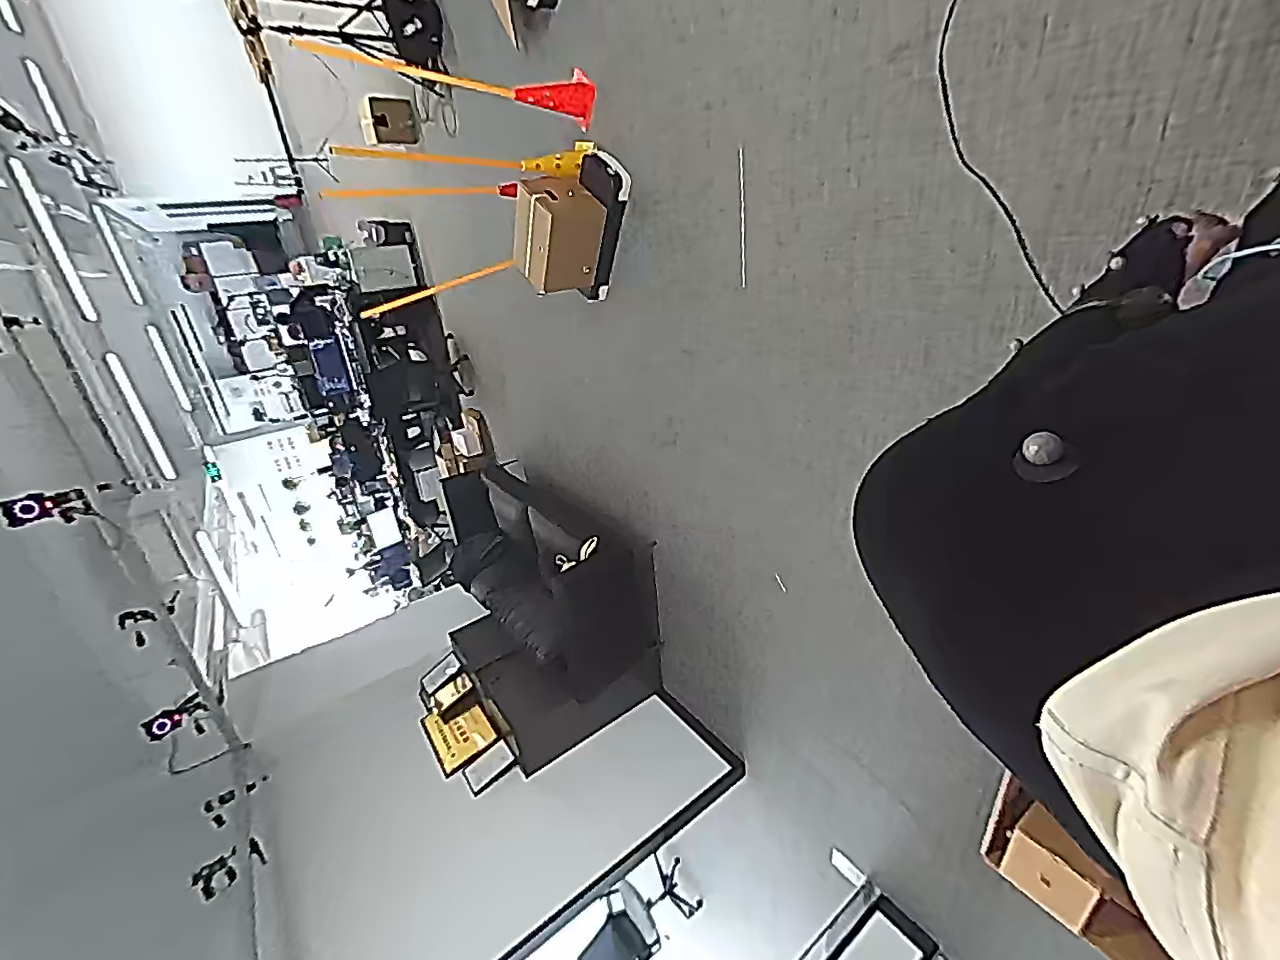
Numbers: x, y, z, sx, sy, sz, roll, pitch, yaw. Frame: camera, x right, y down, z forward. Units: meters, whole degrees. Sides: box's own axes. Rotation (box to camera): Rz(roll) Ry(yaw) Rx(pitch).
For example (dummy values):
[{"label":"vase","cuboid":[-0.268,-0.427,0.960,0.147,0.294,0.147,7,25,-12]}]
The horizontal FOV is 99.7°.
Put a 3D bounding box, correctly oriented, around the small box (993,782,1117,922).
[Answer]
[{"label":"small box","cuboid":[0.975,0.867,1.272,0.168,0.176,0.179,30,131,48]}]
